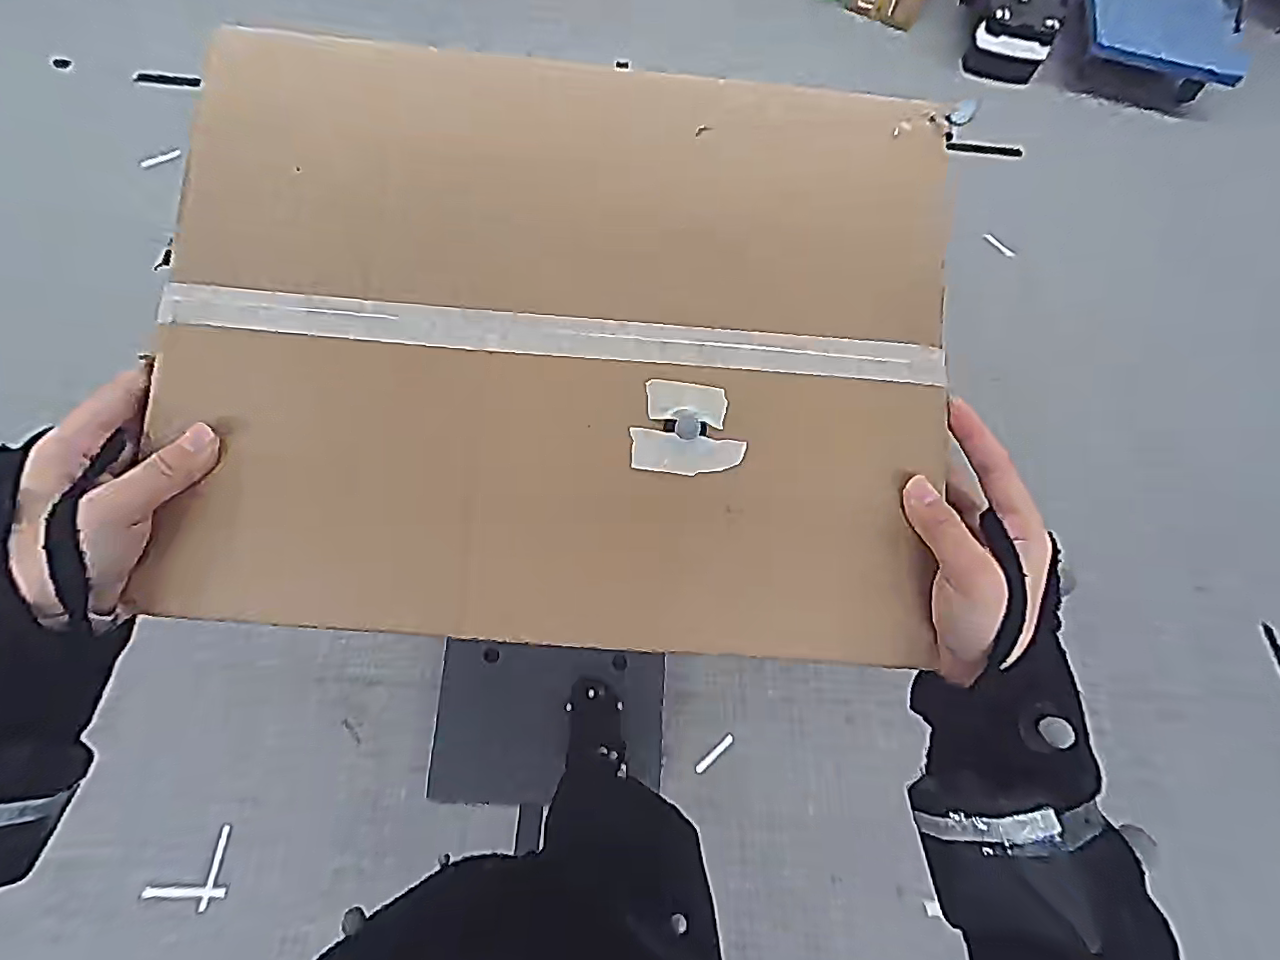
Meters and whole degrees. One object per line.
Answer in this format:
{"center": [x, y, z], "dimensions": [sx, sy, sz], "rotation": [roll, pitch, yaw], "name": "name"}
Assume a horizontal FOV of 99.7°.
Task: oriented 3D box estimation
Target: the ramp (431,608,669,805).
{"center": [-0.168, 0.196, 1.263], "dimensions": [0.509, 0.206, 0.991], "rotation": [3, 66, -3], "name": "ramp"}

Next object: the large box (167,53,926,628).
{"center": [-0.045, -0.067, 0.448], "dimensions": [0.408, 0.320, 0.320], "rotation": [4, 85, -2], "name": "large box"}
